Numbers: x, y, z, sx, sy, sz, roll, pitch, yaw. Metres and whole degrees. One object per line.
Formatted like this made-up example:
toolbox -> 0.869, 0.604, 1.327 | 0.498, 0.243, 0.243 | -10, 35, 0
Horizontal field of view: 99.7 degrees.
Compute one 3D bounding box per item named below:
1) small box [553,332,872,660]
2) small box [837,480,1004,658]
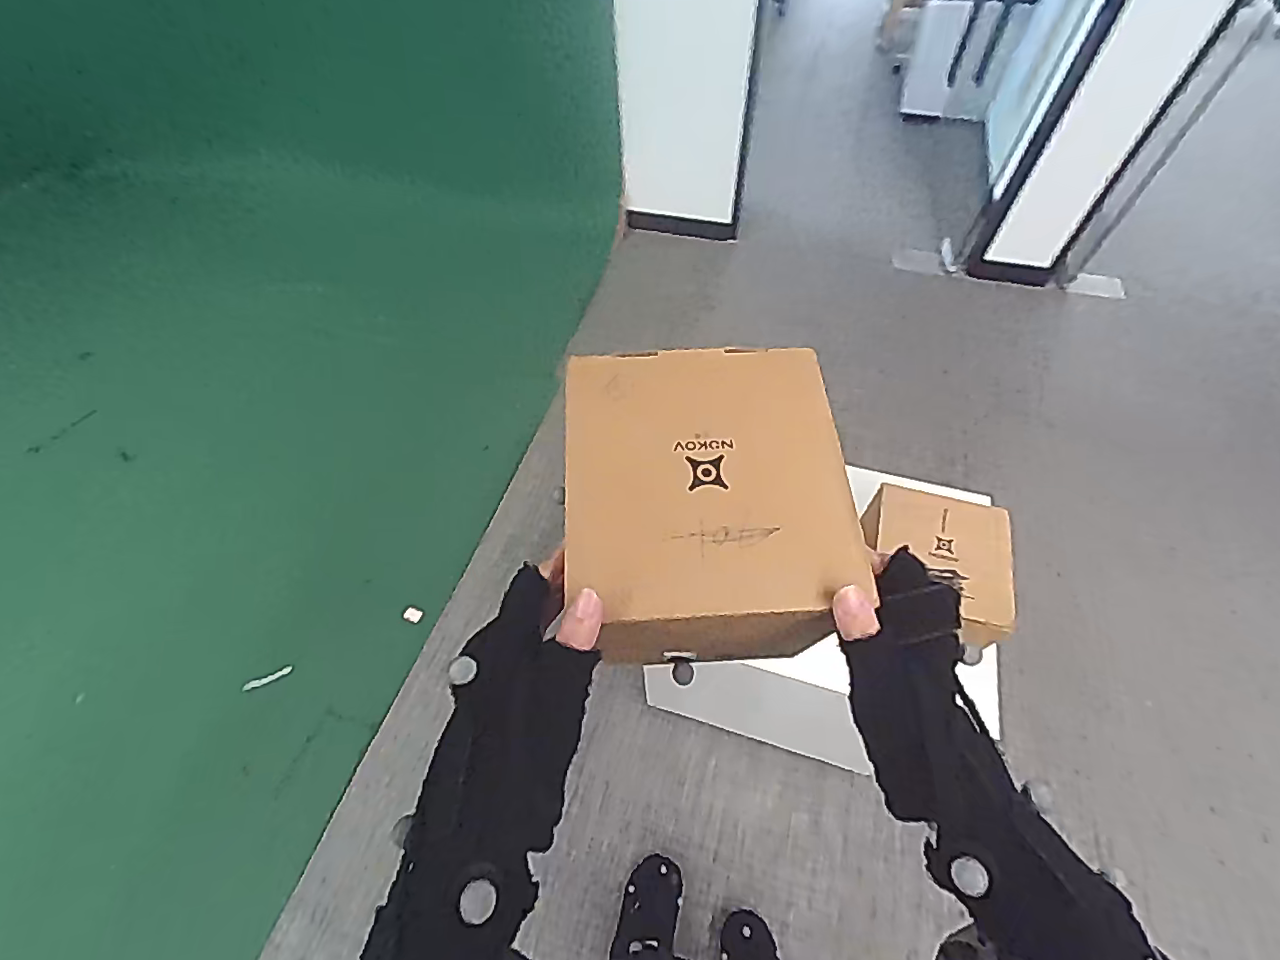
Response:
small box -> 0.031, 0.020, 0.380 | 0.168, 0.176, 0.179 | -3, 63, -3
small box -> 0.389, 0.132, 0.772 | 0.168, 0.176, 0.179 | 15, 58, 12
